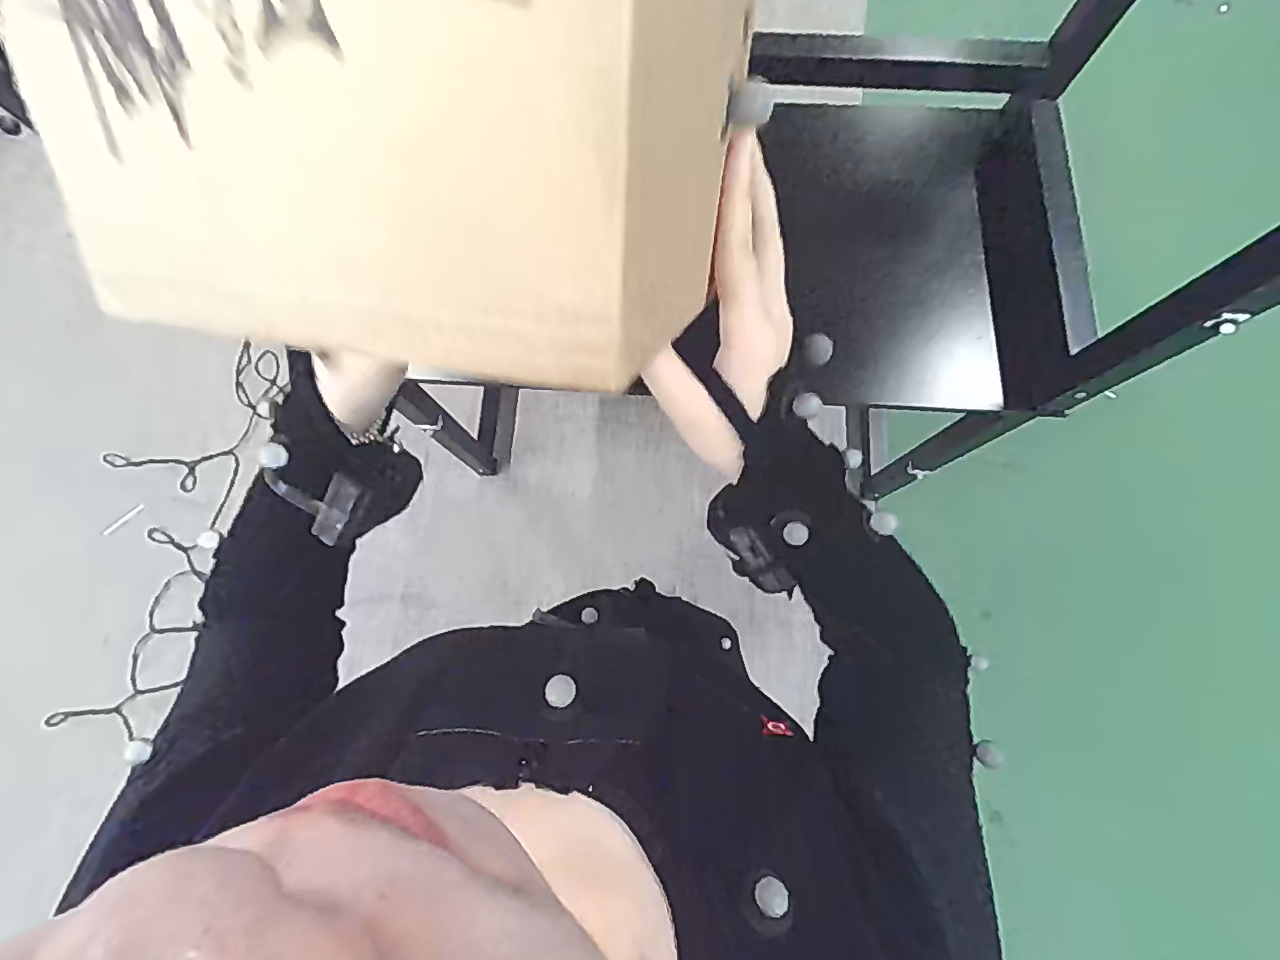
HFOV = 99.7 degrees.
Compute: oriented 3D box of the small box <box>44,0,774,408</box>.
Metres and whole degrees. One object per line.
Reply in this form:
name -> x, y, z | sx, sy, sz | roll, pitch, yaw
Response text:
small box -> -0.054, -0.143, 0.194 | 0.179, 0.176, 0.168 | 11, 121, 12
